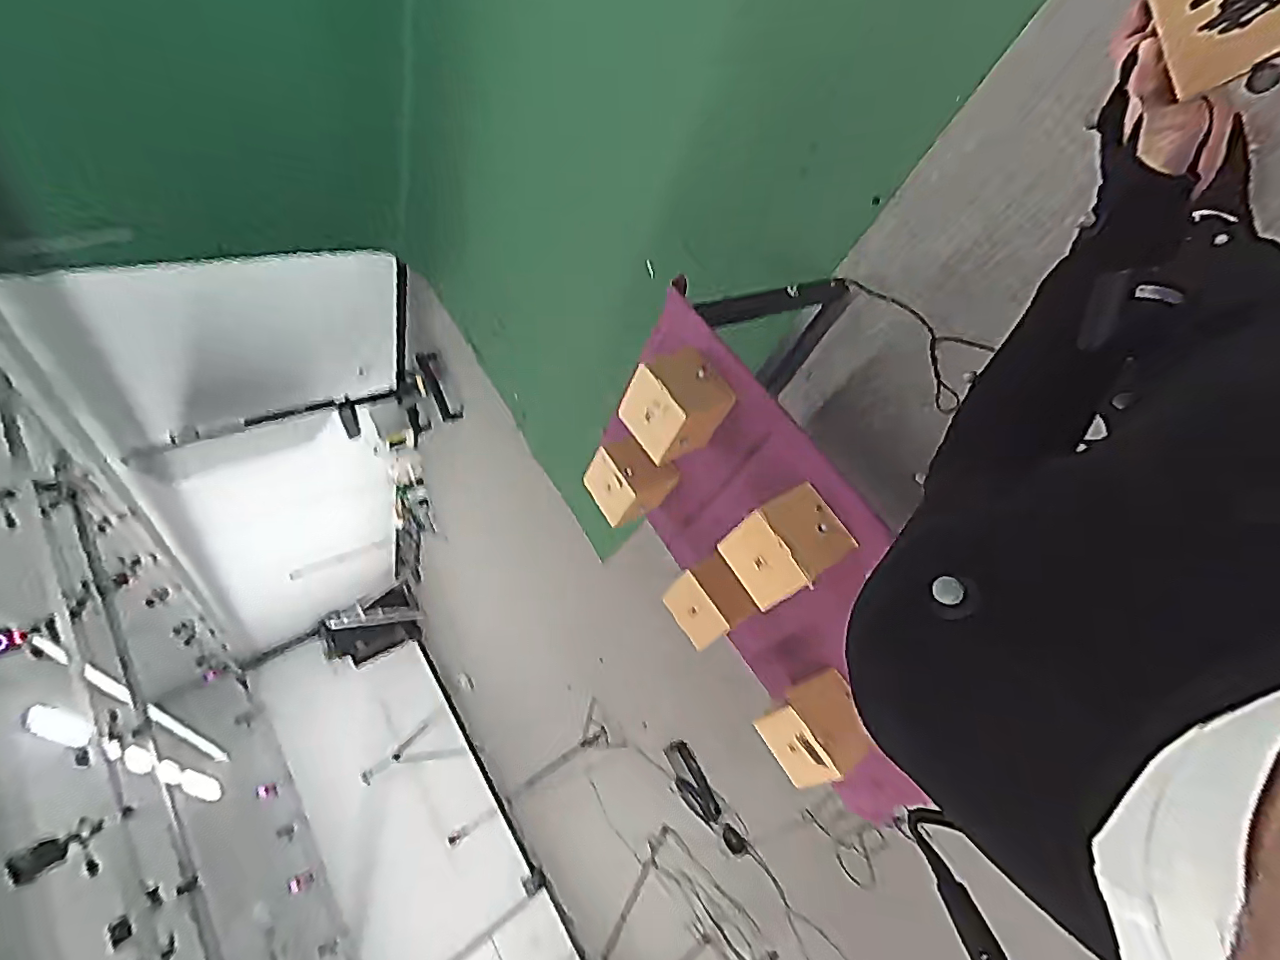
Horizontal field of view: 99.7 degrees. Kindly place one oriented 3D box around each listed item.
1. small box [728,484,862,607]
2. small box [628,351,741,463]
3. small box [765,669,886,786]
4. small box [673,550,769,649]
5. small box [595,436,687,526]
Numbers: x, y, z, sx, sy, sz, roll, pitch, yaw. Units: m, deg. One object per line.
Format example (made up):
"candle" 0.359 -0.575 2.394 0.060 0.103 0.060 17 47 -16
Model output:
"small box" 0.325 0.135 1.136 0.168 0.176 0.179 56 145 17
"small box" 0.104 -0.172 1.256 0.168 0.176 0.179 53 143 18
"small box" 0.428 0.561 1.235 0.168 0.176 0.179 54 144 19
"small box" 0.219 0.296 1.375 0.168 0.176 0.179 54 143 19
"small box" 0.004 -0.004 1.497 0.168 0.176 0.179 55 144 17
